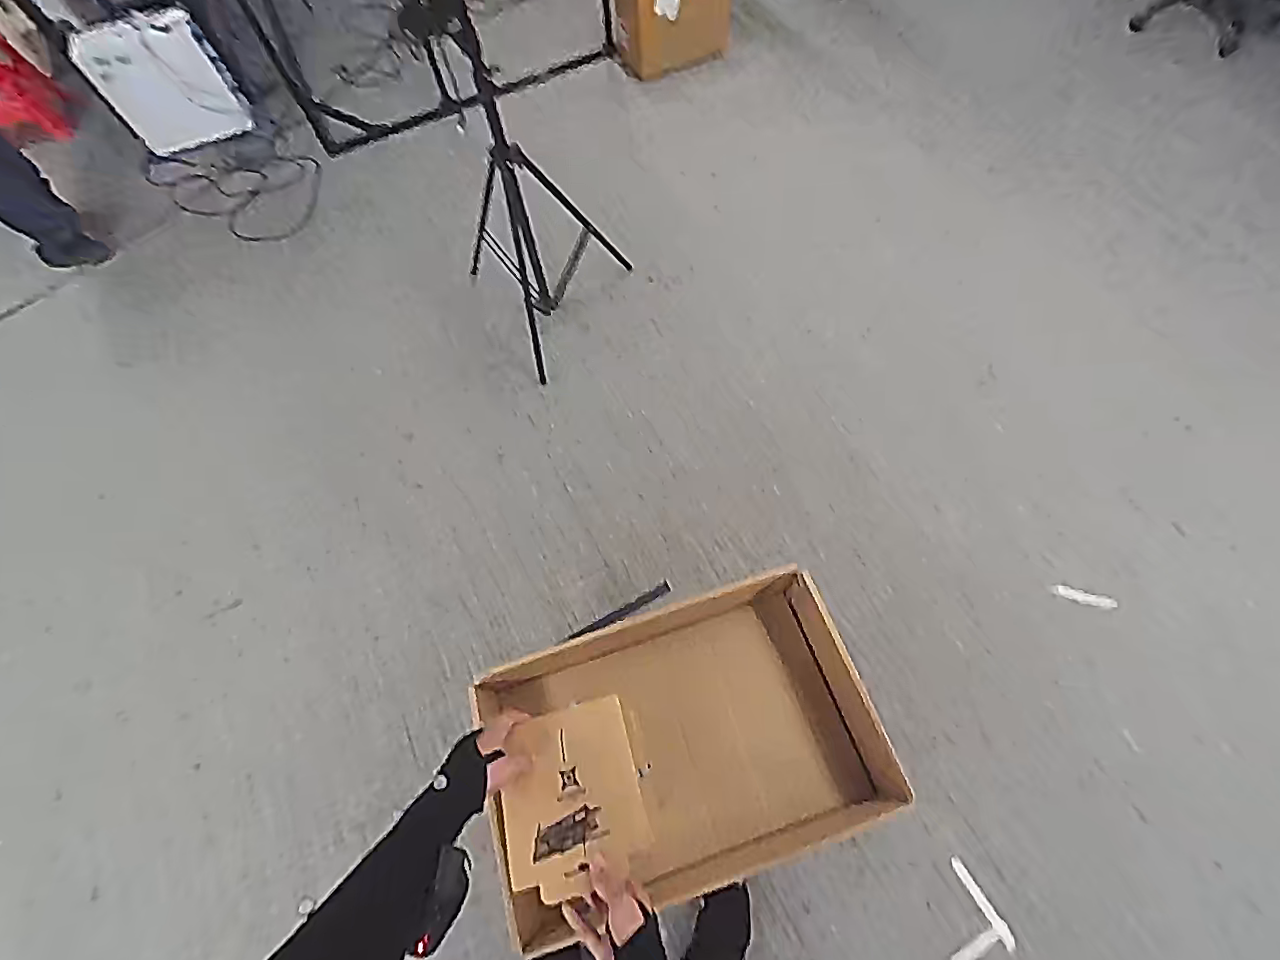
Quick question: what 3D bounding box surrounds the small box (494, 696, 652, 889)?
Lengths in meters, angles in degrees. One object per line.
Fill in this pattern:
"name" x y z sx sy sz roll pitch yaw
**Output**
"small box" -0.083 0.408 0.731 0.168 0.176 0.179 -15 64 -5
